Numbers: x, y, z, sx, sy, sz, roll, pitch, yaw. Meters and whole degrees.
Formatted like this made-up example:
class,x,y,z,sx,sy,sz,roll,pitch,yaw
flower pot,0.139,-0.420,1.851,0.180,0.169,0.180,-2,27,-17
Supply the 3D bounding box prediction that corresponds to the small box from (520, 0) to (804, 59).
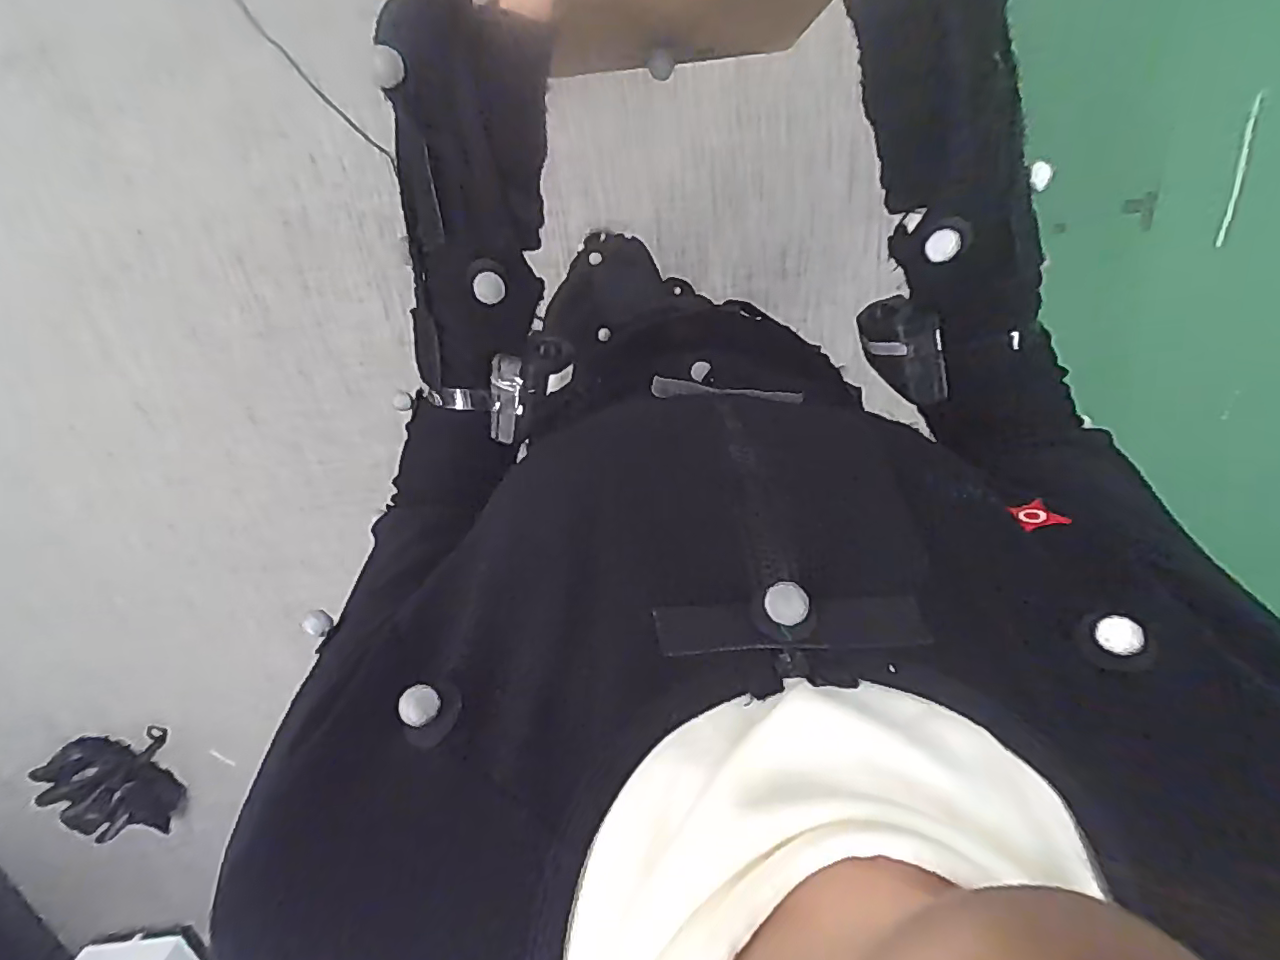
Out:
class,x,y,z,sx,sy,sz,roll,pitch,yaw
small box,0.007,-0.326,0.244,0.168,0.176,0.179,-5,116,2
